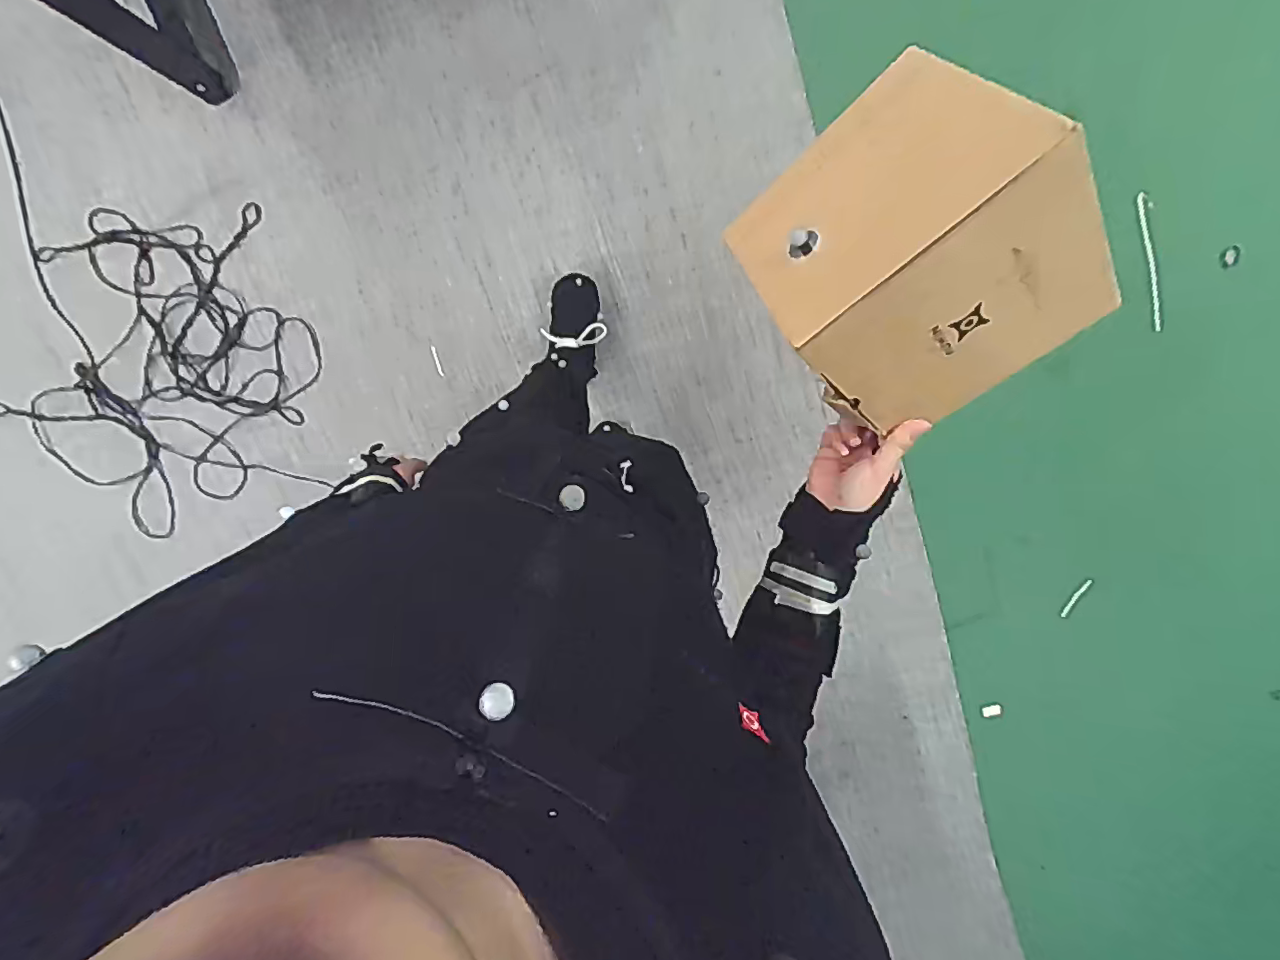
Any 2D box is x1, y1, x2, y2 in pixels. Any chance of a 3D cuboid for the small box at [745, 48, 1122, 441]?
[{"bbox_3d":[0.200,-0.168,0.409,0.179,0.176,0.168,-39,136,27],"label":"small box"}]
